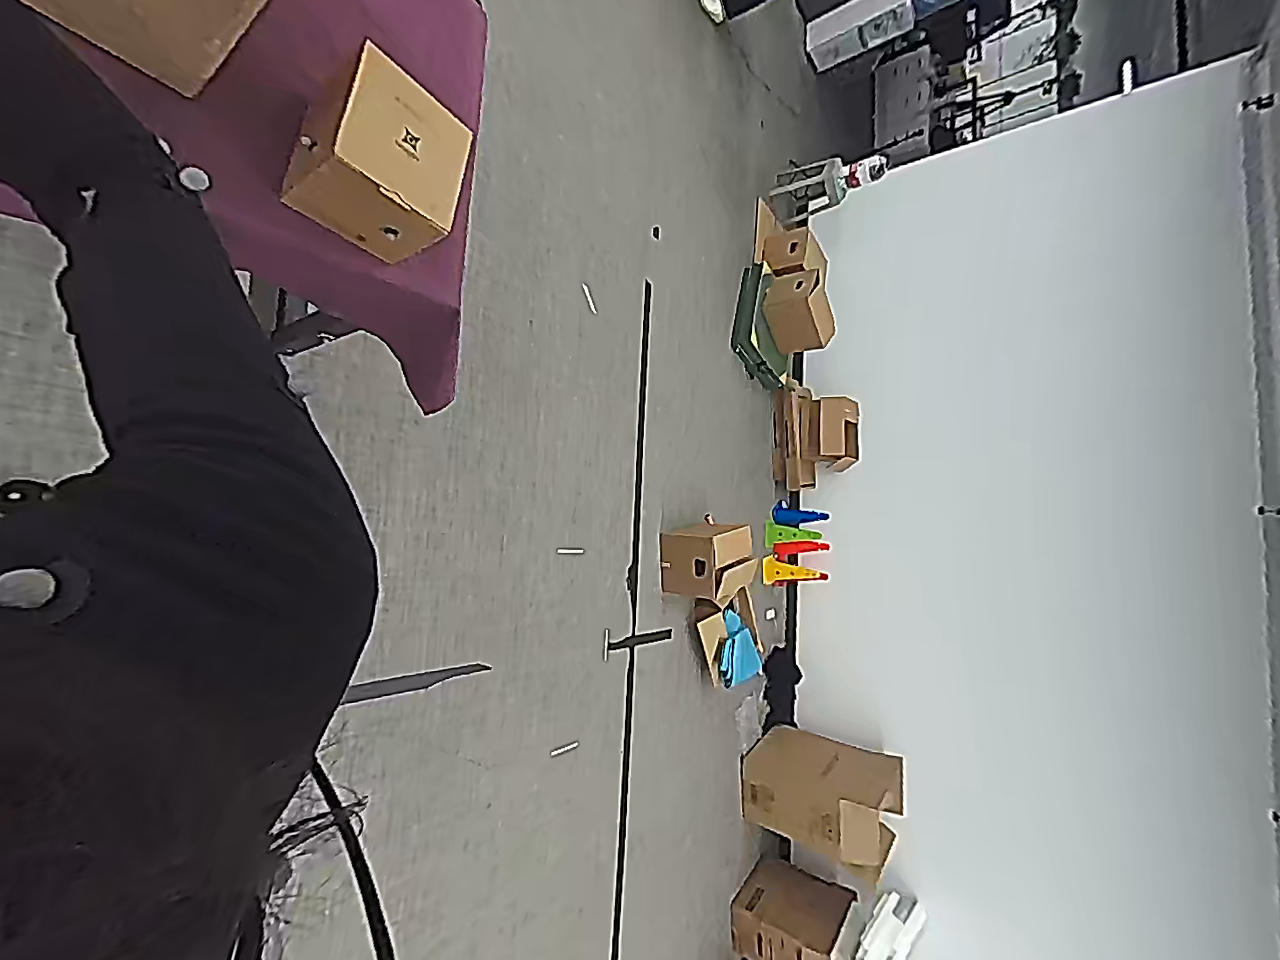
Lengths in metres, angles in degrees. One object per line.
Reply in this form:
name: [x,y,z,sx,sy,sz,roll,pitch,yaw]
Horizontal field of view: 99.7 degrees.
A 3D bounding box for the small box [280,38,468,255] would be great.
small box: [-0.378,-0.453,0.771,0.168,0.176,0.179,23,69,-52]
